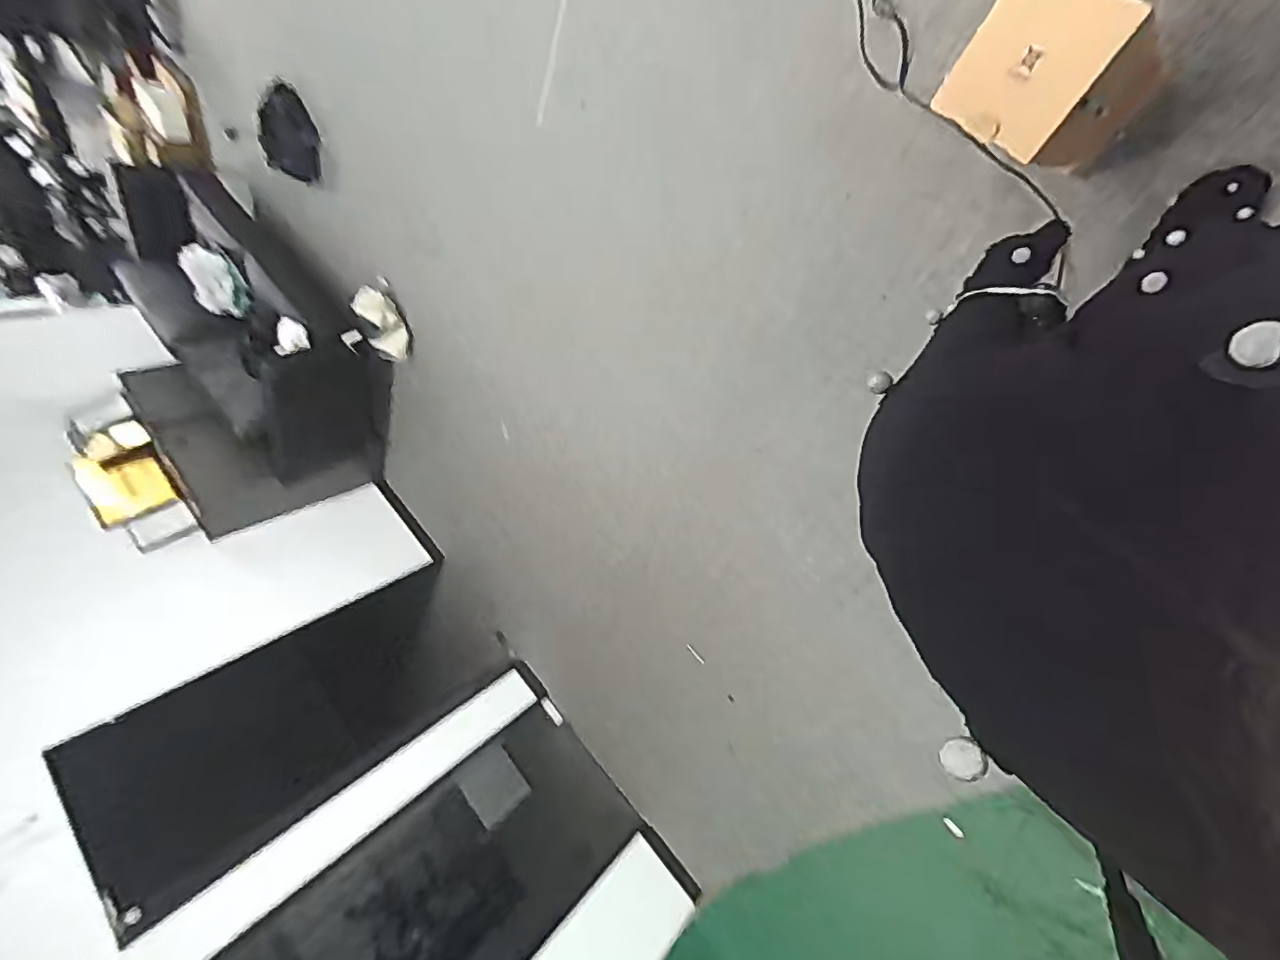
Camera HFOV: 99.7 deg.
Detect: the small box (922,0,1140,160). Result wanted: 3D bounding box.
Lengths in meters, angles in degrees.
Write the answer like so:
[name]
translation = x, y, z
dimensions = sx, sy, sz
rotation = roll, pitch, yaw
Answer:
[small box]
translation = 0.543, -0.579, 0.757
dimensions = 0.168, 0.176, 0.179
rotation = 46, 137, 17
